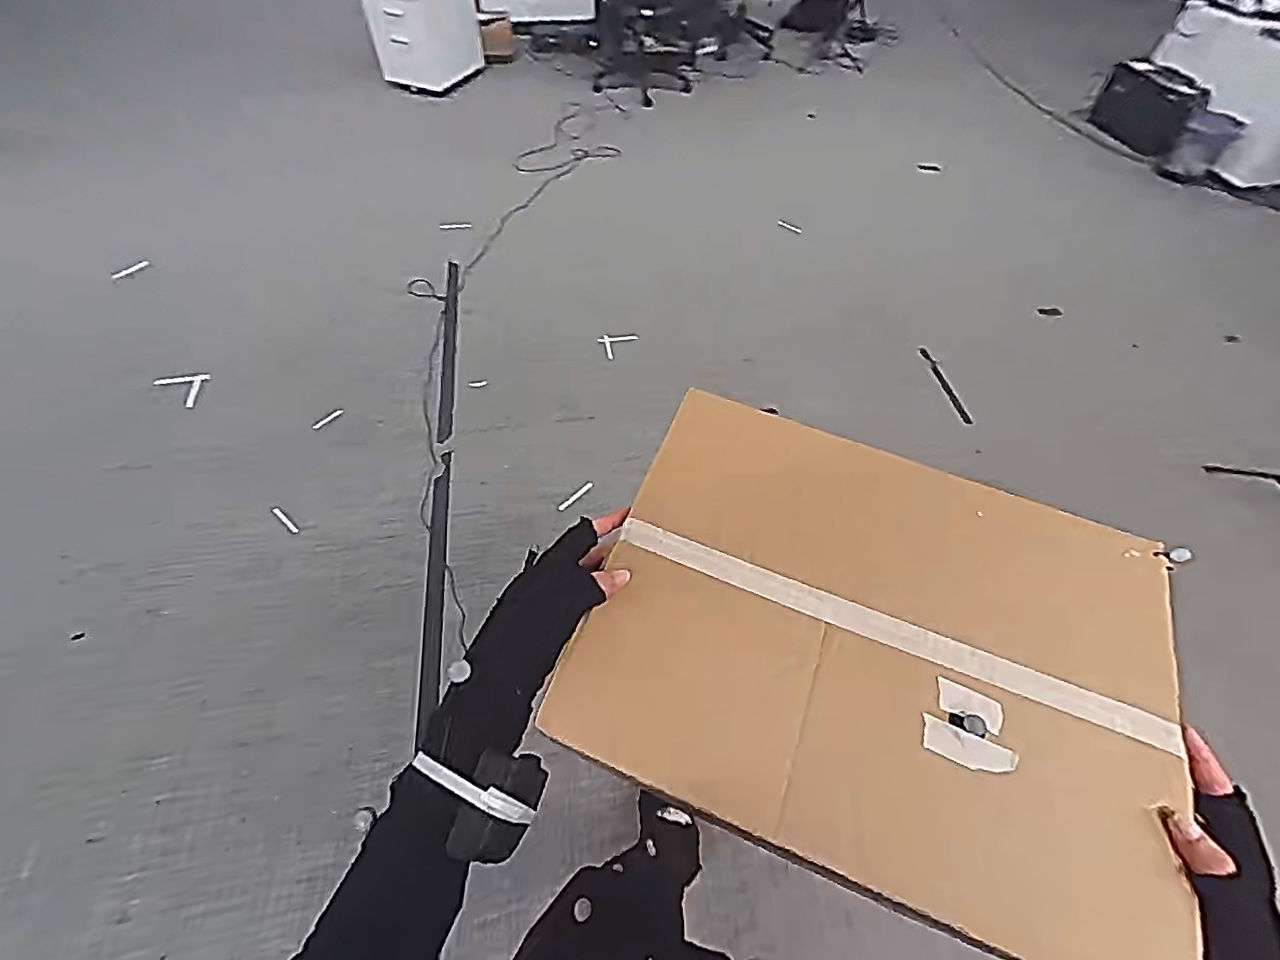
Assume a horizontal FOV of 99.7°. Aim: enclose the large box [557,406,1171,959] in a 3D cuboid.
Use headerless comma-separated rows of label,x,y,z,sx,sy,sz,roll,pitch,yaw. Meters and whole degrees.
large box,0.173,0.187,0.541,0.408,0.320,0.320,20,63,10
